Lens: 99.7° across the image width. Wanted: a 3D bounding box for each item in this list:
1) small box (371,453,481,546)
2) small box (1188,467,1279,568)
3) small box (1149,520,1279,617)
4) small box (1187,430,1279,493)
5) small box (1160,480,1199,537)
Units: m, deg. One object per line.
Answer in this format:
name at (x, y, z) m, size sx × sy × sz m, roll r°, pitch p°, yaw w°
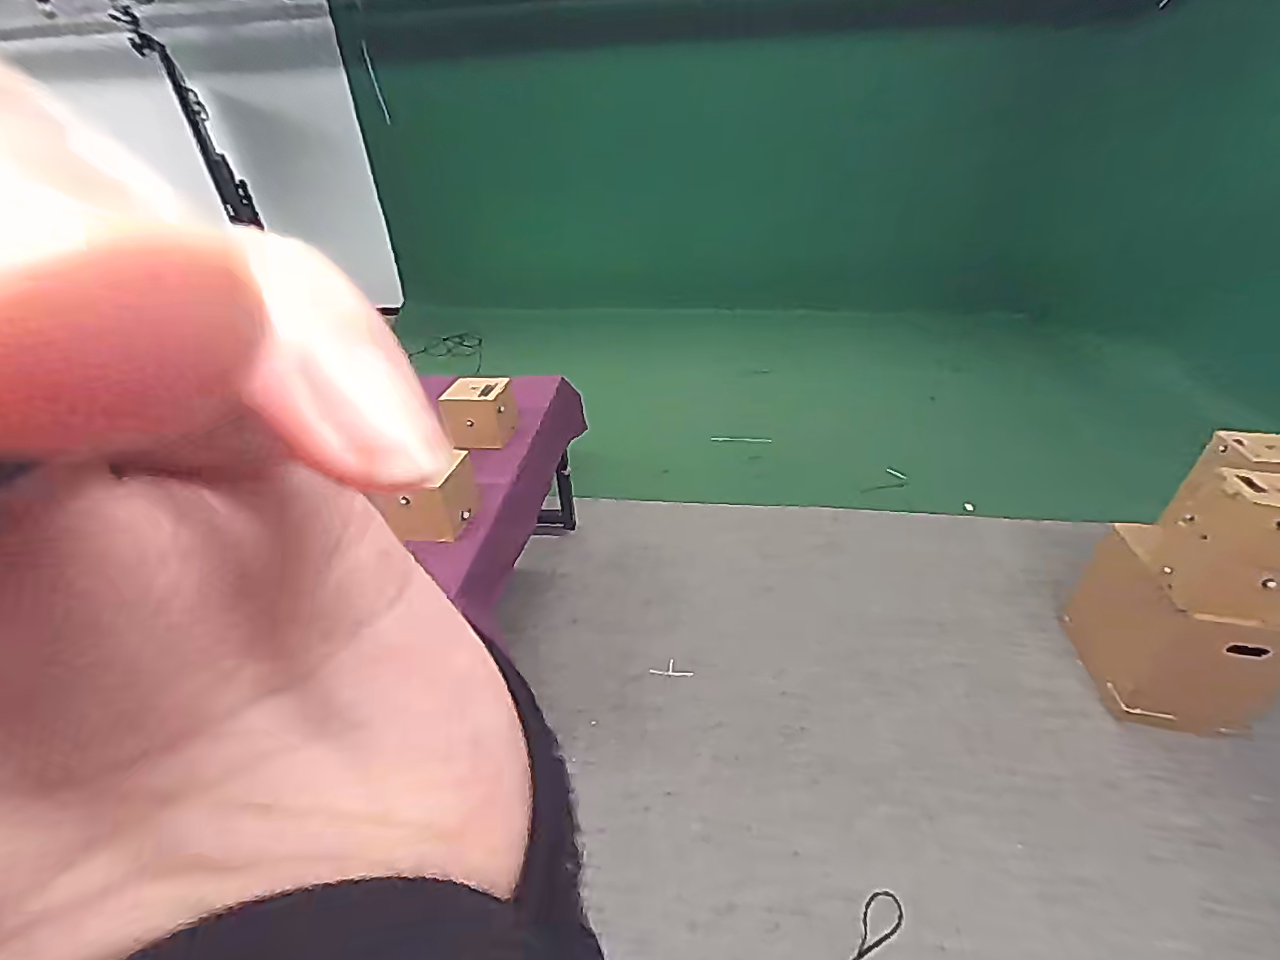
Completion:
small box at (-0.519, 0.048, 1.336) m, size 0.179 × 0.176 × 0.168 m, roll 3°, pitch 34°, yaw 9°
small box at (1.488, 0.091, 1.304) m, size 0.179 × 0.176 × 0.168 m, roll 10°, pitch 35°, yaw 15°
small box at (1.488, 0.229, 1.393) m, size 0.179 × 0.176 × 0.168 m, roll 7°, pitch 34°, yaw 12°
small box at (1.655, -0.016, 1.455) m, size 0.179 × 0.176 × 0.168 m, roll 7°, pitch 34°, yaw 14°
small box at (1.665, 0.120, 1.549) m, size 0.168 × 0.176 × 0.179 m, roll 5°, pitch 34°, yaw 11°
